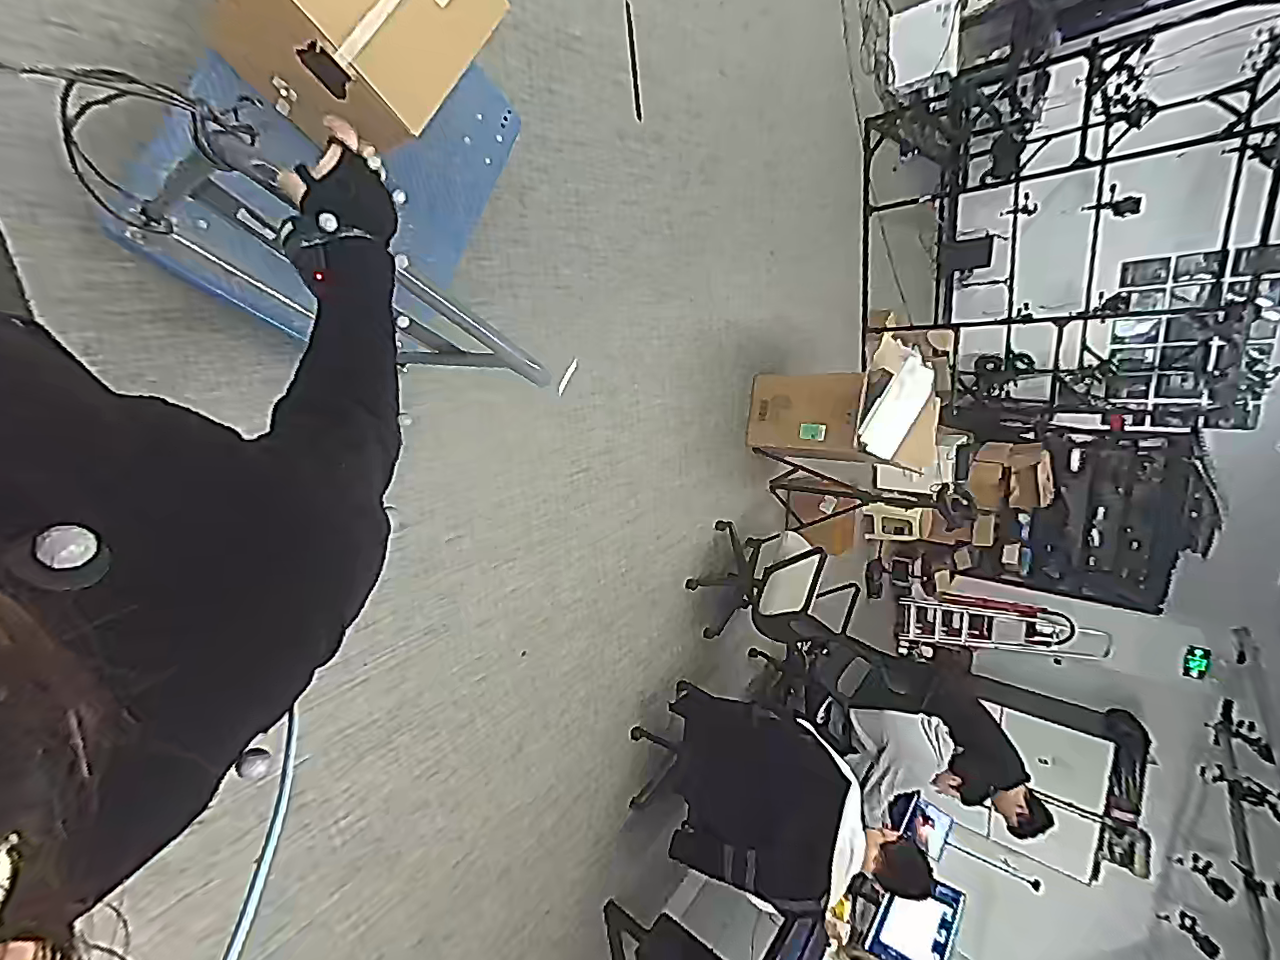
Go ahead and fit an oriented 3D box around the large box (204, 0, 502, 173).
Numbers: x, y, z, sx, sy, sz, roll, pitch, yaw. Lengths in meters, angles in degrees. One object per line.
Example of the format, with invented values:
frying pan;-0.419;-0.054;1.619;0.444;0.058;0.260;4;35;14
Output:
large box;-0.552;-0.910;1.067;0.320;0.320;0.408;40;66;-46
